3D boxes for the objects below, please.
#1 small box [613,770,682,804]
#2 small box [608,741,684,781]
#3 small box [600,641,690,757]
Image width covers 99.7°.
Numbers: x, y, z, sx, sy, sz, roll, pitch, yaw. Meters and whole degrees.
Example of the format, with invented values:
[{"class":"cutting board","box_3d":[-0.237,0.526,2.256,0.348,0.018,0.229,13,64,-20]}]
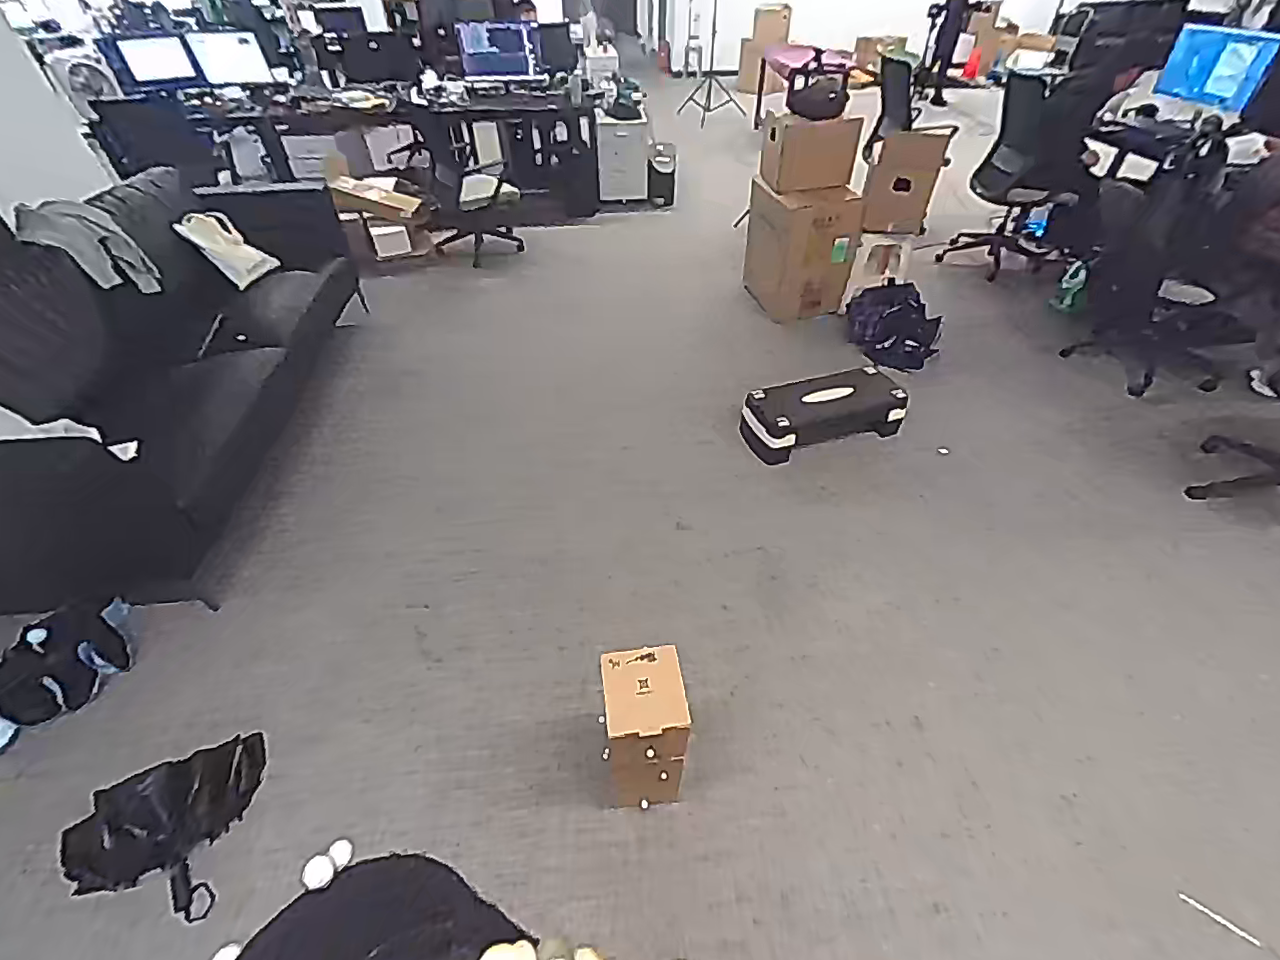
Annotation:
[{"class":"small box","box_3d":[0.012,0.700,1.382,0.168,0.176,0.179,-5,45,-3]},{"class":"small box","box_3d":[0.009,0.586,1.267,0.168,0.176,0.179,-5,44,-5]},{"class":"small box","box_3d":[0.008,0.471,1.151,0.168,0.176,0.179,-7,46,-6]}]
